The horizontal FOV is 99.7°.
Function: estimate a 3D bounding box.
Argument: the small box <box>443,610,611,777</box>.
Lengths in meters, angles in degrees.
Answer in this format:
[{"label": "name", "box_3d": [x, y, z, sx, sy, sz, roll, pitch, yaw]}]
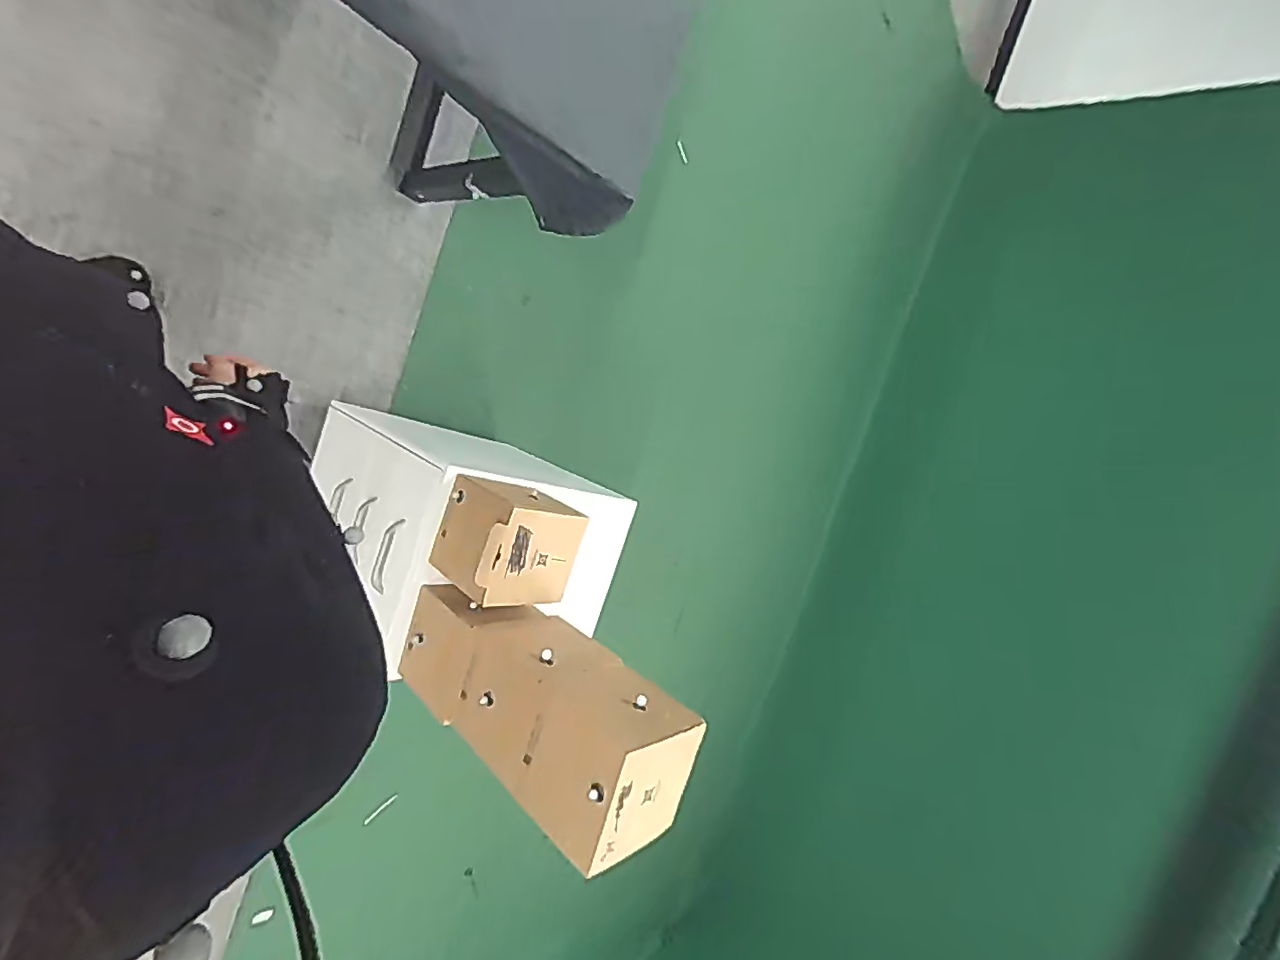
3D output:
[{"label": "small box", "box_3d": [-0.181, 0.320, 0.850, 0.179, 0.176, 0.168, 8, 101, -51]}]

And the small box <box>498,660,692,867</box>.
[{"label": "small box", "box_3d": [-0.061, 0.369, 0.749, 0.179, 0.176, 0.168, 11, 98, -53]}]
